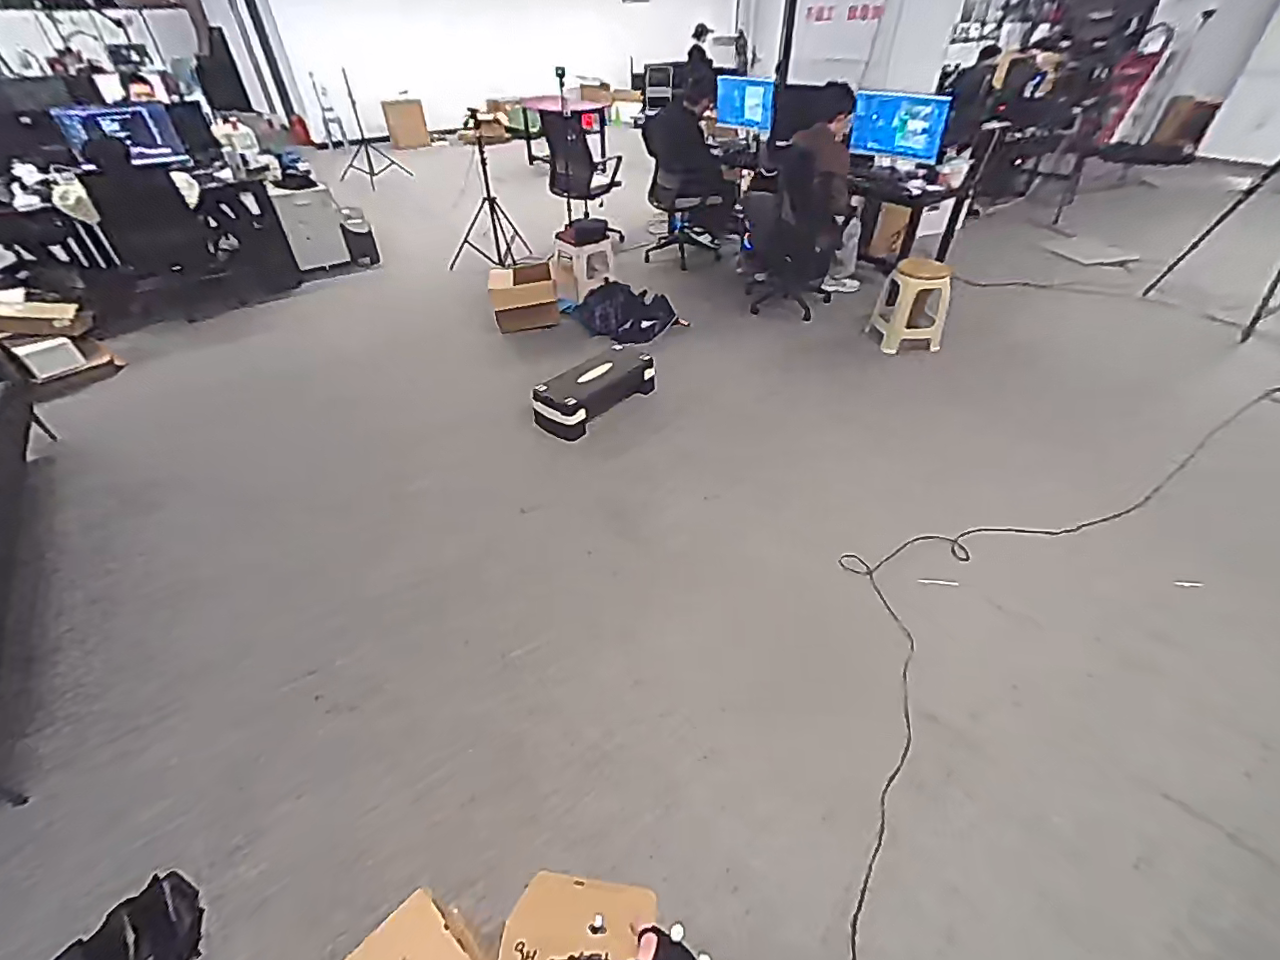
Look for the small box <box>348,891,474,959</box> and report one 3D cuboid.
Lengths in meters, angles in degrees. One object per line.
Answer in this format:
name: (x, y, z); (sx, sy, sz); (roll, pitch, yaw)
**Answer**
small box: (-0.366, 0.827, 0.871); (0.168, 0.176, 0.179); (28, 49, 34)
